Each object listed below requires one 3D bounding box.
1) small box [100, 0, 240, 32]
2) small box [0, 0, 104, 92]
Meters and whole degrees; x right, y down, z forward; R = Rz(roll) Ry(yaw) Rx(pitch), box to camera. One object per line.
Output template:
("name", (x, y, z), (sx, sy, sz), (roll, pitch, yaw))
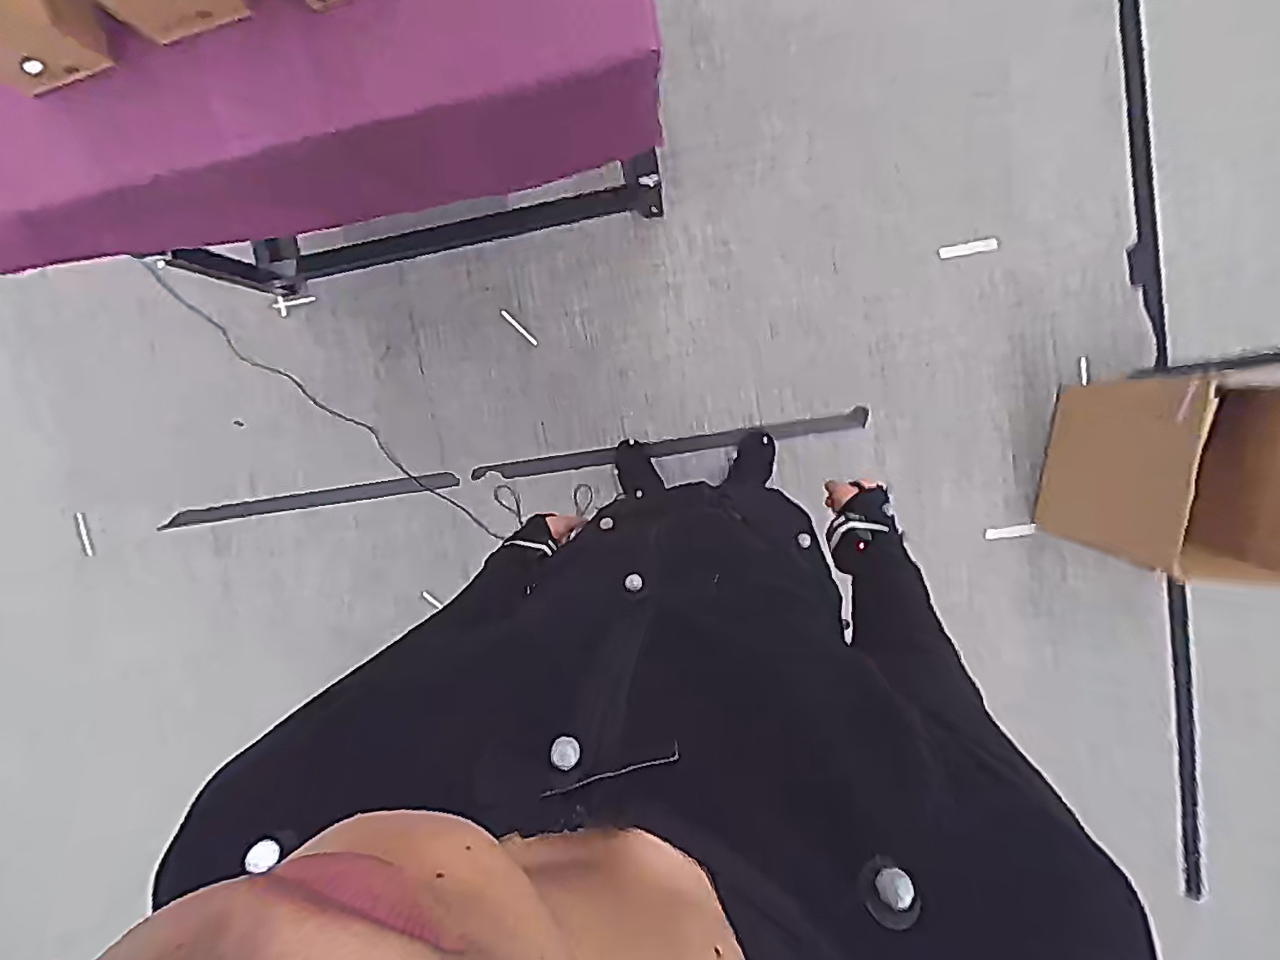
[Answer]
("small box", (-0.713, -0.780, 0.758), (0.168, 0.176, 0.179), (-12, 96, 6))
("small box", (-0.954, -0.719, 0.783), (0.168, 0.176, 0.179), (-13, 96, 7))
